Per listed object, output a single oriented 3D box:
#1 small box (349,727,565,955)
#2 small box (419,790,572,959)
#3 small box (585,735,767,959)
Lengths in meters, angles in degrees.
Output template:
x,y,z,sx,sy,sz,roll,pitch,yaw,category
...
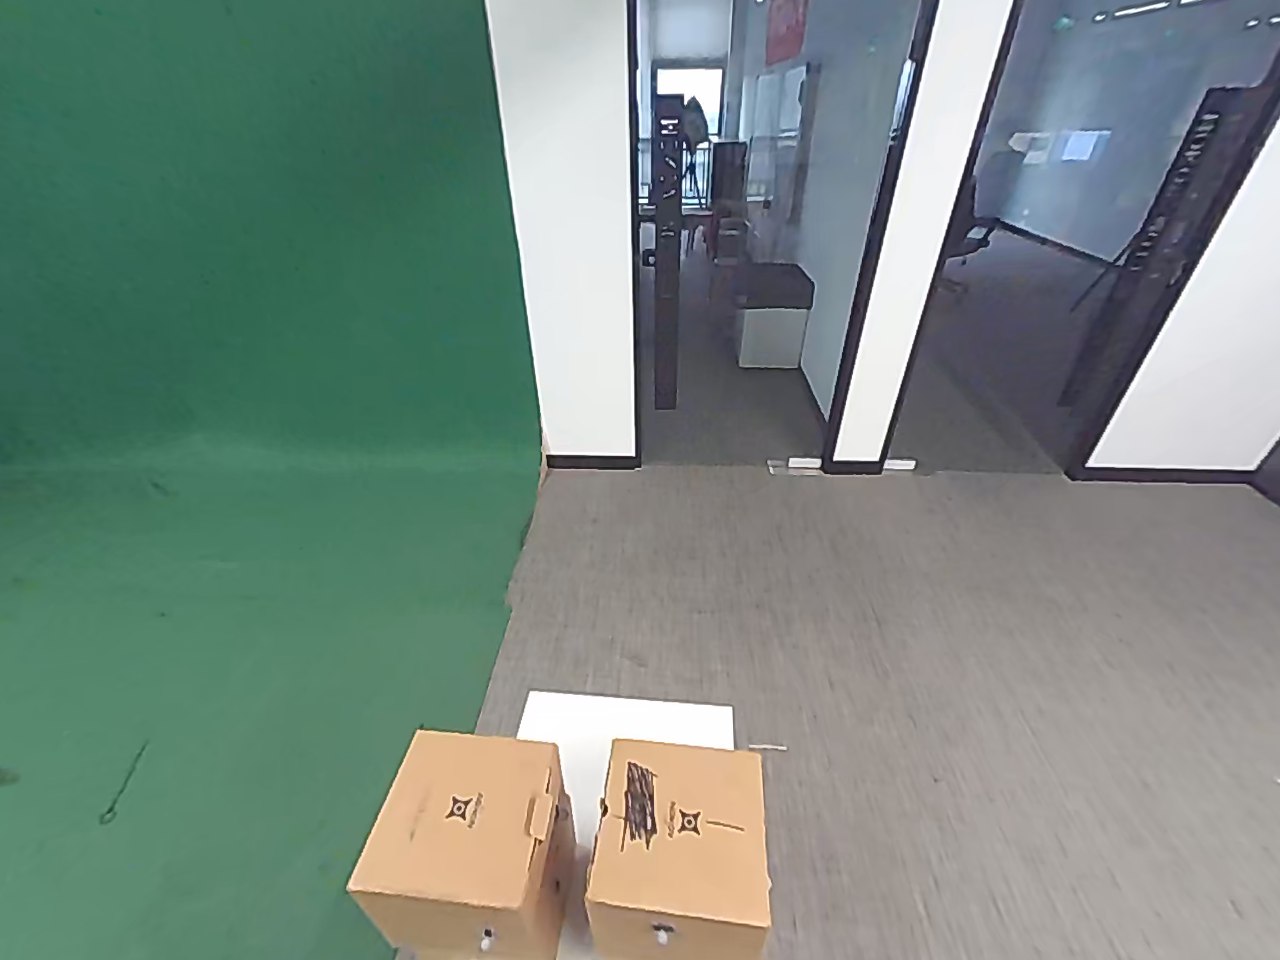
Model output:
x,y,z,sx,sy,sz,roll,pitch,yaw,category
-0.189,0.416,0.627,0.179,0.176,0.168,3,34,4,small box
-0.189,0.540,0.733,0.168,0.176,0.179,5,36,4,small box
0.045,0.421,0.616,0.179,0.176,0.168,4,35,7,small box
